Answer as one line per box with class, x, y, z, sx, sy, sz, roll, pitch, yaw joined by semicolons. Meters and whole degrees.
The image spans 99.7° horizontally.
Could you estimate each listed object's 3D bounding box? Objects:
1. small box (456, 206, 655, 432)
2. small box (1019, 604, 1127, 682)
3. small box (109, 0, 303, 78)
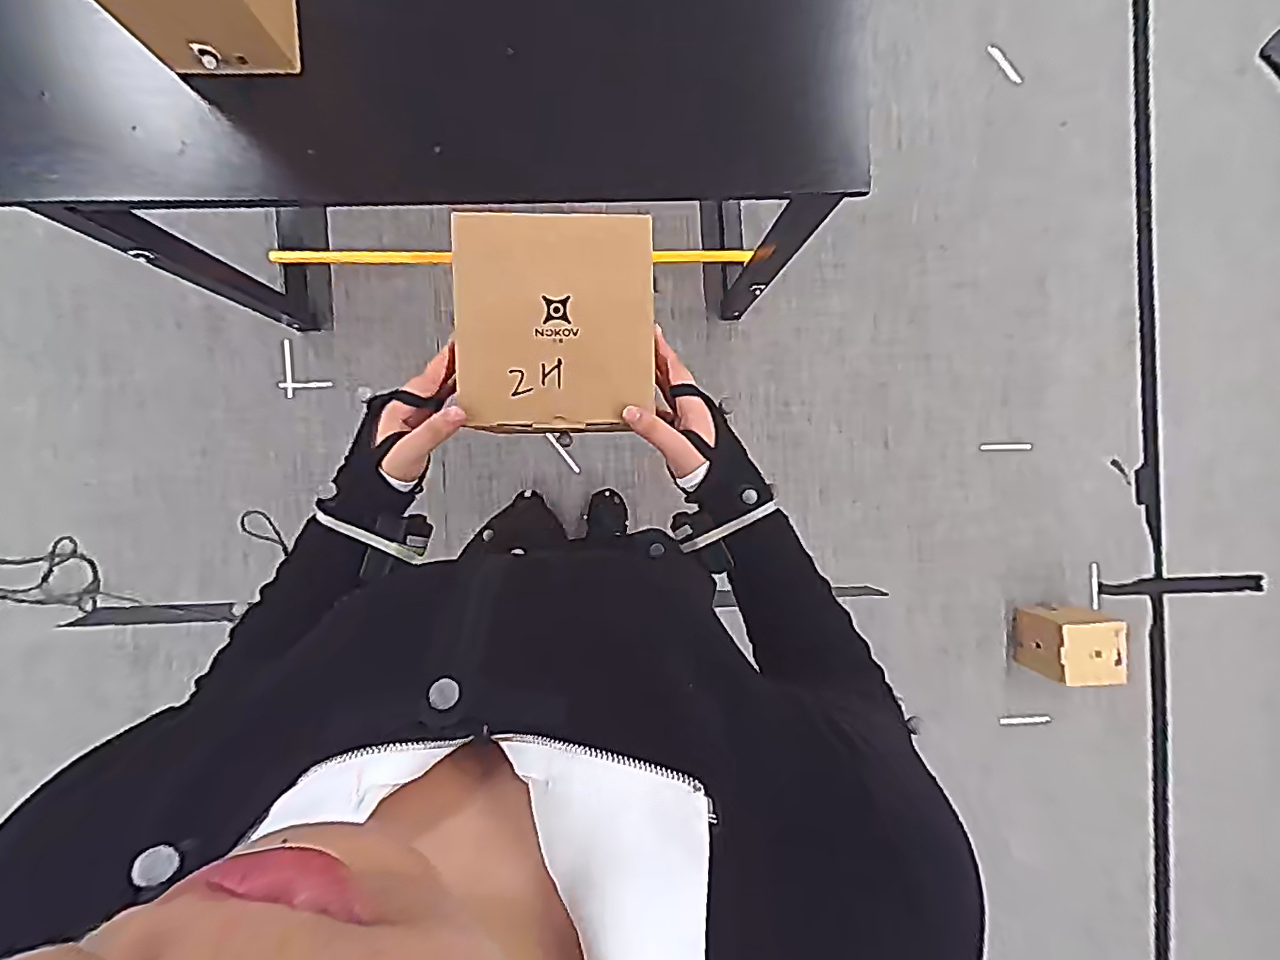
small box;-0.075;-0.141;0.529;0.168;0.176;0.179;-1;92;-4
small box;1.186;0.445;1.494;0.179;0.176;0.168;-2;91;-2
small box;-0.535;-0.627;0.645;0.168;0.176;0.179;-4;92;-2
